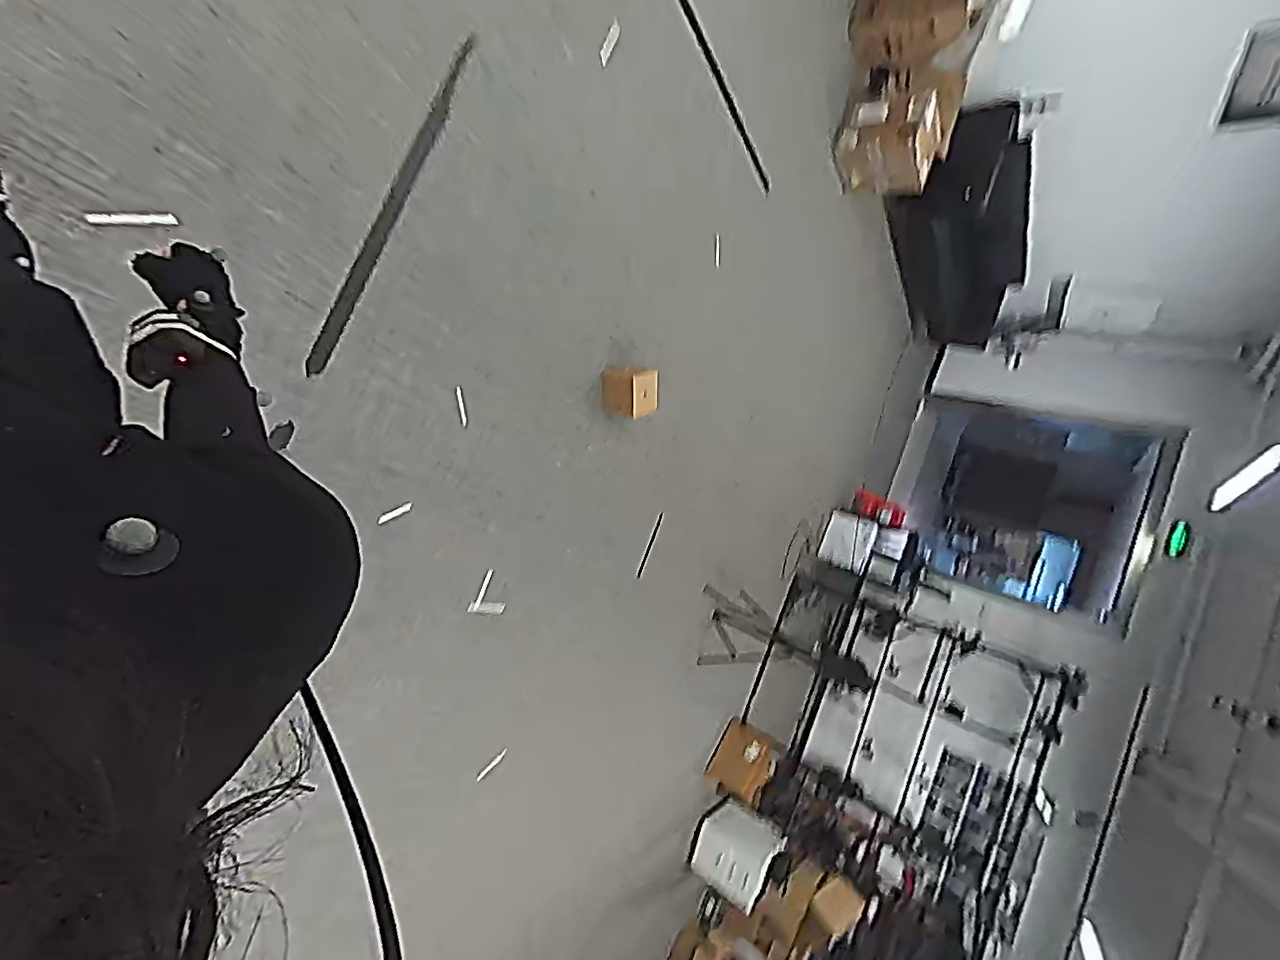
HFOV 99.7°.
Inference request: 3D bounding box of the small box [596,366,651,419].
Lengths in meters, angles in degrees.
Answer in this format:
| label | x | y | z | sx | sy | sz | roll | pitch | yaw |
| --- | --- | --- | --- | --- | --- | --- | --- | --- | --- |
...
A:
| label | x | y | z | sx | sy | sz | roll | pitch | yaw |
| --- | --- | --- | --- | --- | --- | --- | --- | --- | --- |
| small box | -0.069 | -0.373 | 2.285 | 0.168 | 0.176 | 0.179 | -28 | 125 | -46 |
